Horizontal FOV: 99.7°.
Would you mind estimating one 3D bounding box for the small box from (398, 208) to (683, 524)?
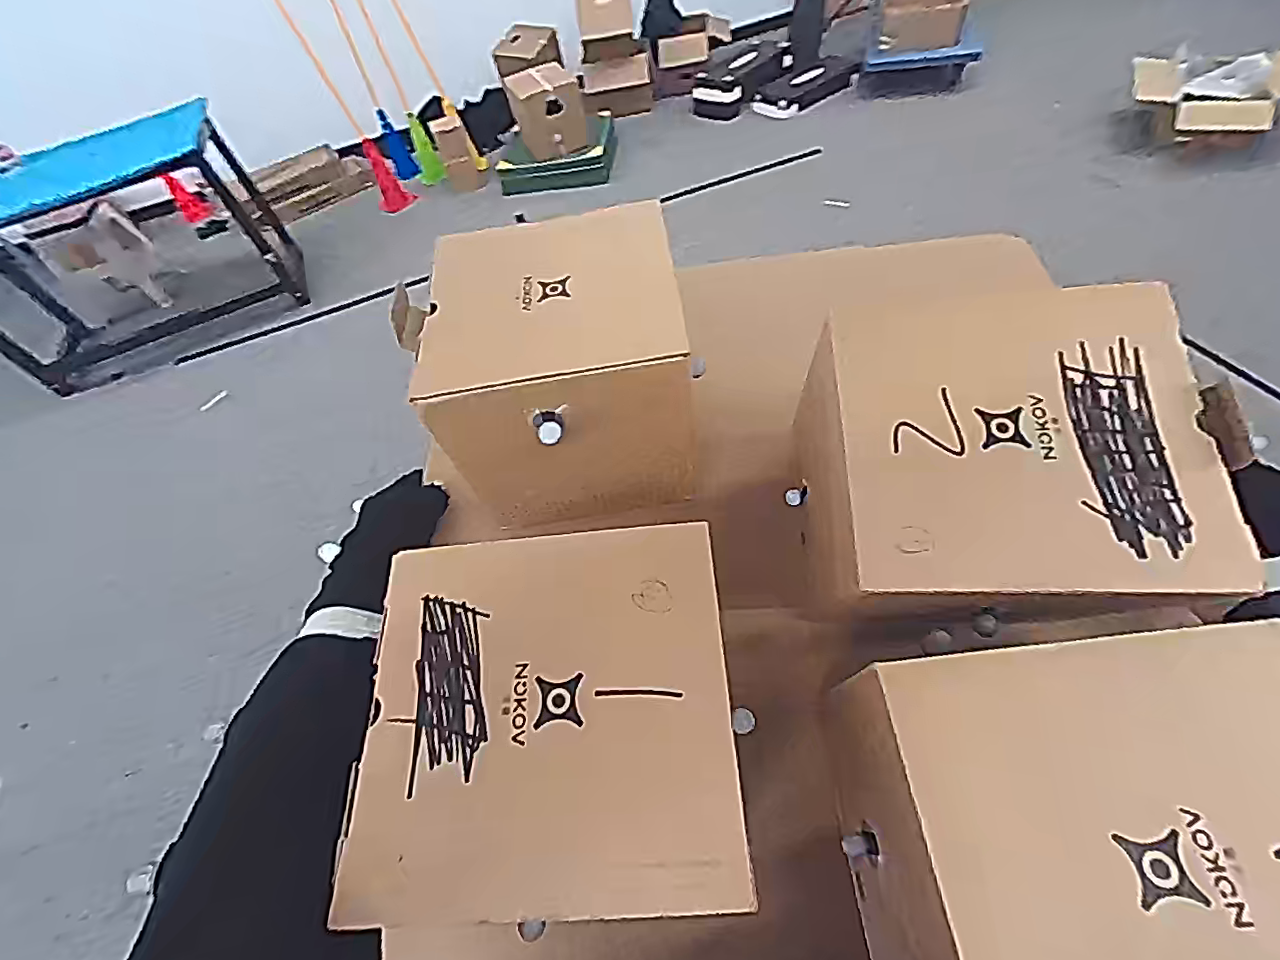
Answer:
[{"bbox_3d":[-0.062,-0.082,0.439,0.179,0.176,0.168,-10,56,4],"label":"small box"}]
